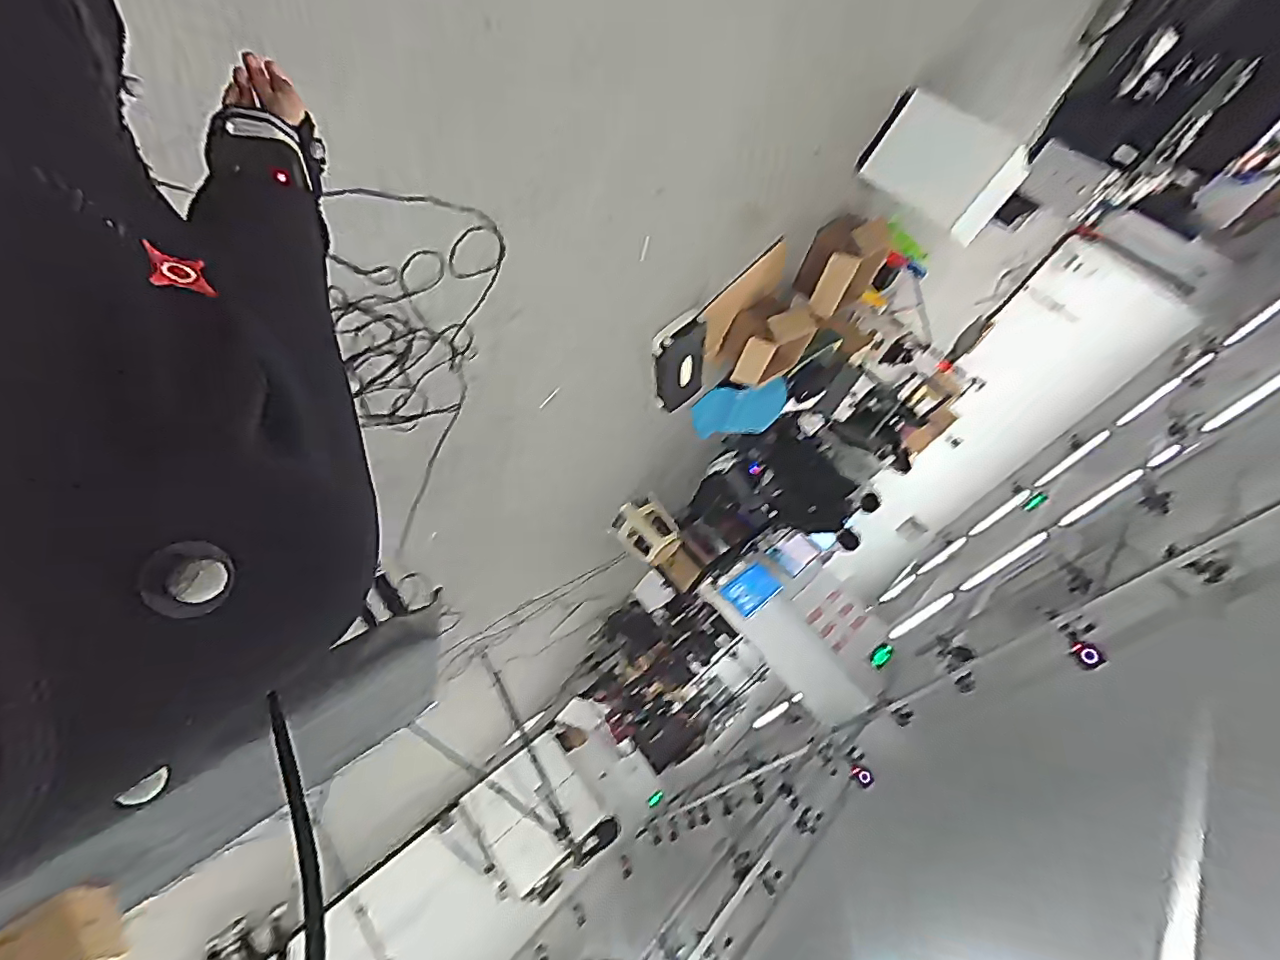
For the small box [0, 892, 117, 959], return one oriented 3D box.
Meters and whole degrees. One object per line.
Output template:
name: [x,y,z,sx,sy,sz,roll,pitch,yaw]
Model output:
small box: [-1.294,1.027,1.159,0.168,0.176,0.179,-30,158,-31]
